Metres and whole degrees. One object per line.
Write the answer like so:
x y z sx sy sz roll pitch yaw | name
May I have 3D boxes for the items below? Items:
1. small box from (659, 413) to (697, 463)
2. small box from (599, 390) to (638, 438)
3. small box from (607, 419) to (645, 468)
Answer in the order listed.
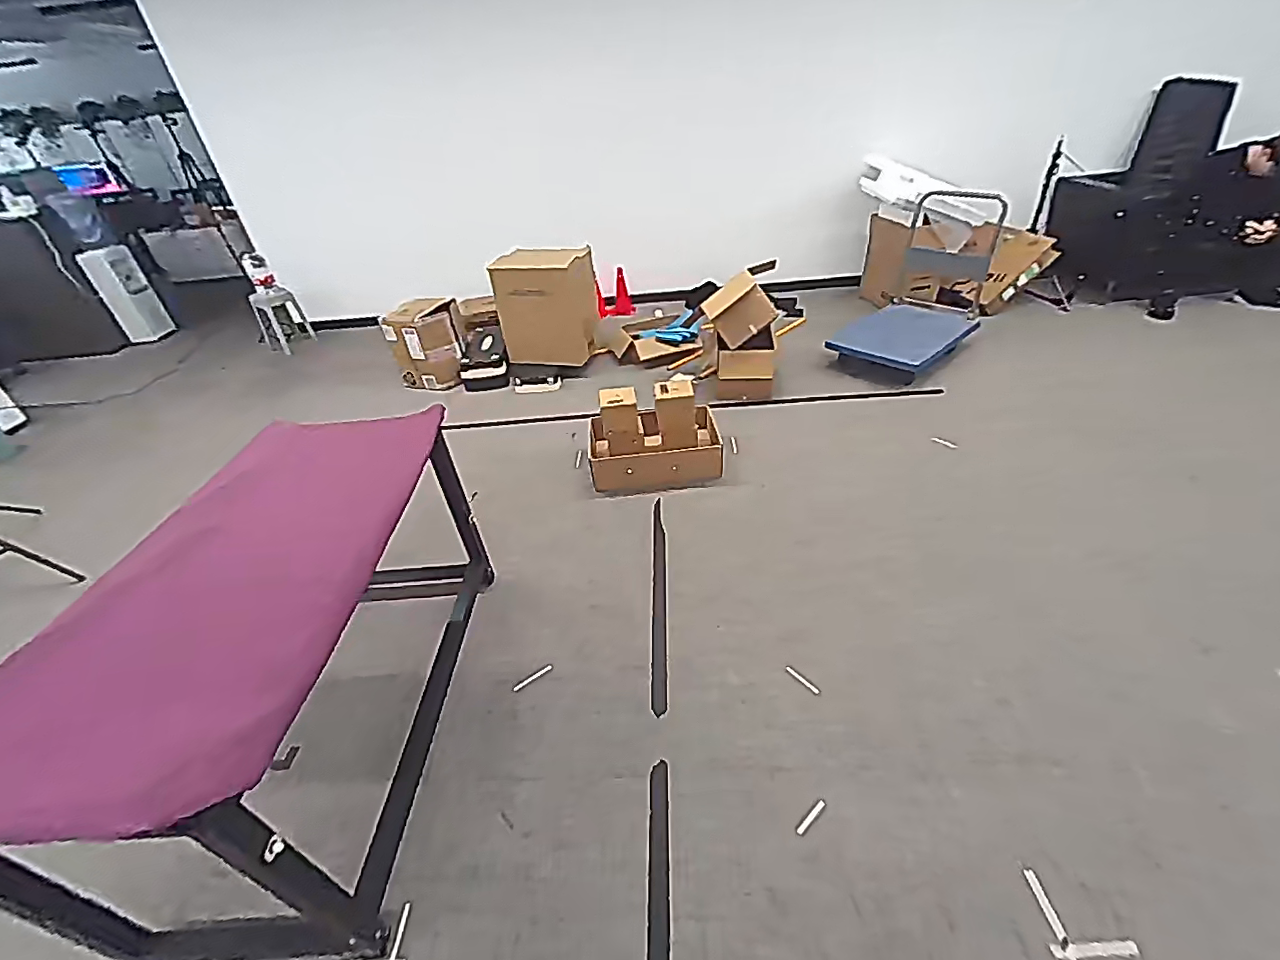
0.187 -0.205 2.645 0.168 0.176 0.179 -7 36 0 | small box
-0.101 -0.305 2.540 0.168 0.176 0.179 -7 35 -3 | small box
-0.071 -0.177 2.642 0.179 0.176 0.168 -7 35 -3 | small box
